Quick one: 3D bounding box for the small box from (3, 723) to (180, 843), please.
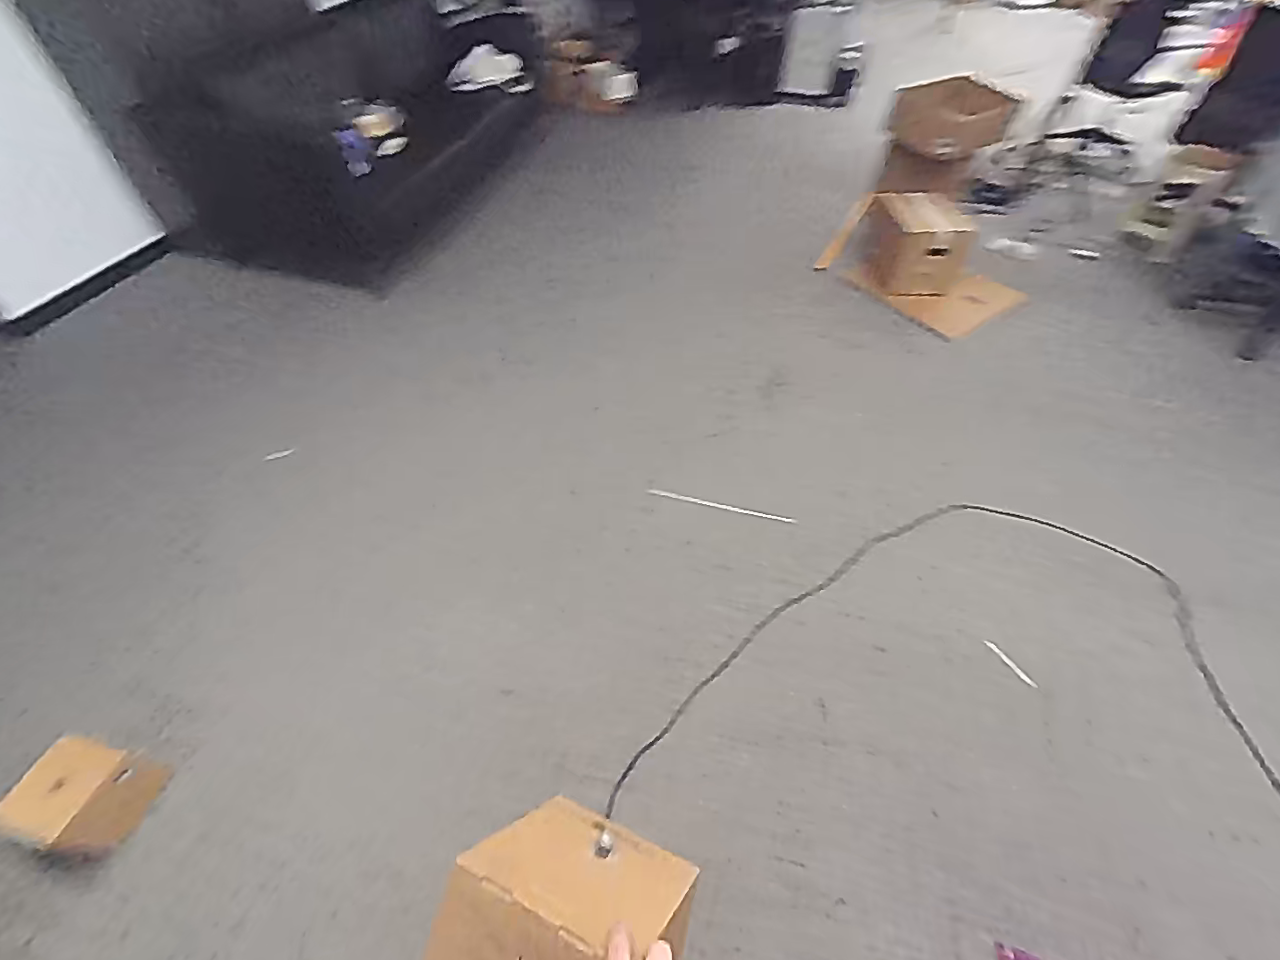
[{"bbox_3d":[-1.185,0.669,1.187,0.168,0.176,0.179,12,50,9],"label":"small box"}]

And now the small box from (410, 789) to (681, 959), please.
[{"bbox_3d":[-0.078,0.410,0.468,0.168,0.176,0.179,12,83,24],"label":"small box"}]
